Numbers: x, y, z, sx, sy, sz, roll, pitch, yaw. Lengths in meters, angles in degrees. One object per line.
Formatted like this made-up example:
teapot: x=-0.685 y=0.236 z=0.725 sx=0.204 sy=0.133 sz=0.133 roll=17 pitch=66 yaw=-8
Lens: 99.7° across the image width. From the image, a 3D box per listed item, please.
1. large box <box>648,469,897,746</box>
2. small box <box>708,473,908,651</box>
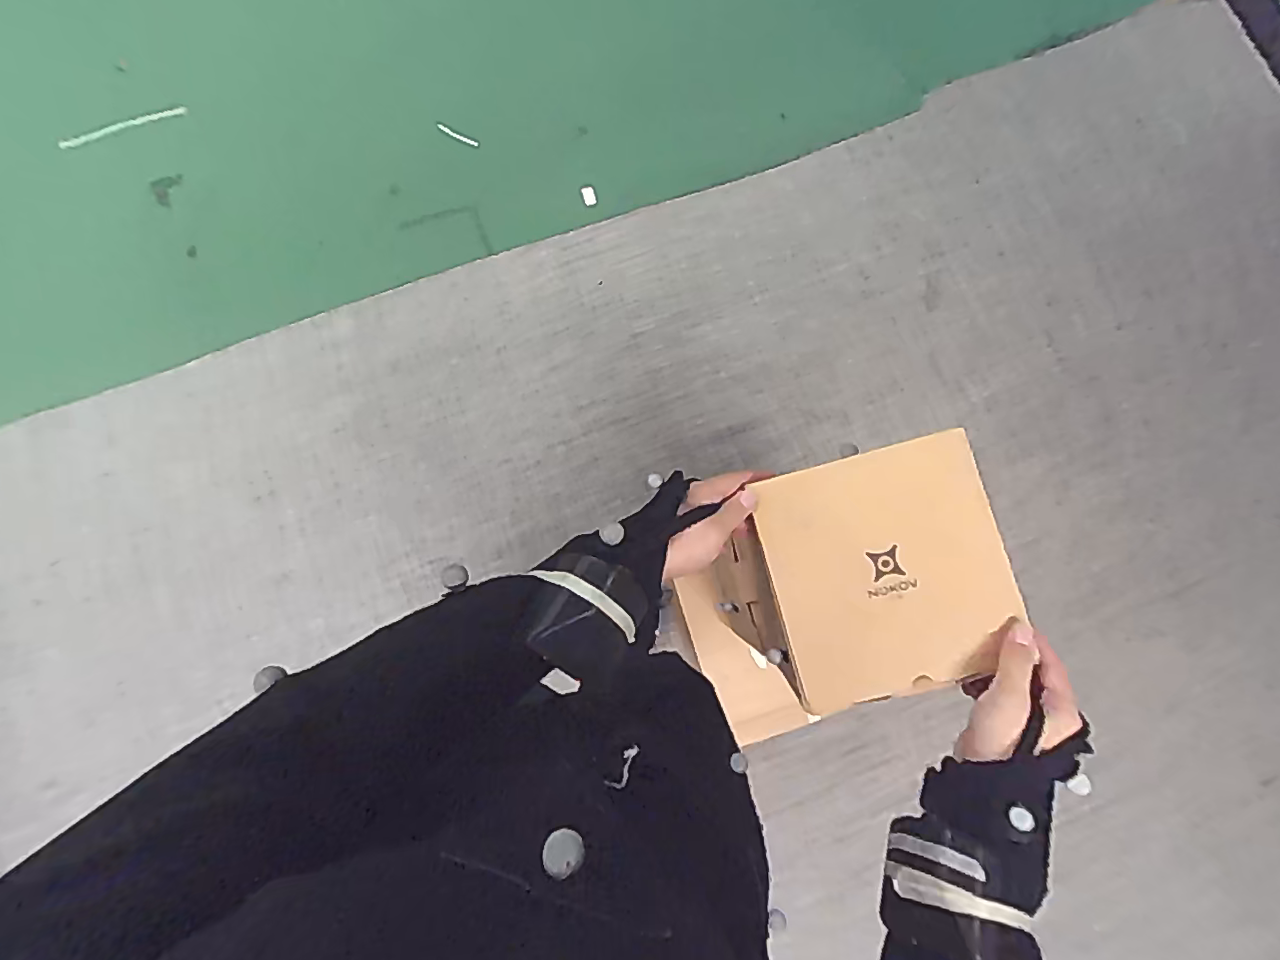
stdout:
large box: x=0.225 y=0.227 z=1.071 sx=0.320 sy=0.320 sz=0.408 roll=-17 pitch=84 yaw=-3
small box: x=0.191 y=0.098 z=0.677 sx=0.179 sy=0.176 sz=0.168 roll=-14 pitch=85 yaw=-4
